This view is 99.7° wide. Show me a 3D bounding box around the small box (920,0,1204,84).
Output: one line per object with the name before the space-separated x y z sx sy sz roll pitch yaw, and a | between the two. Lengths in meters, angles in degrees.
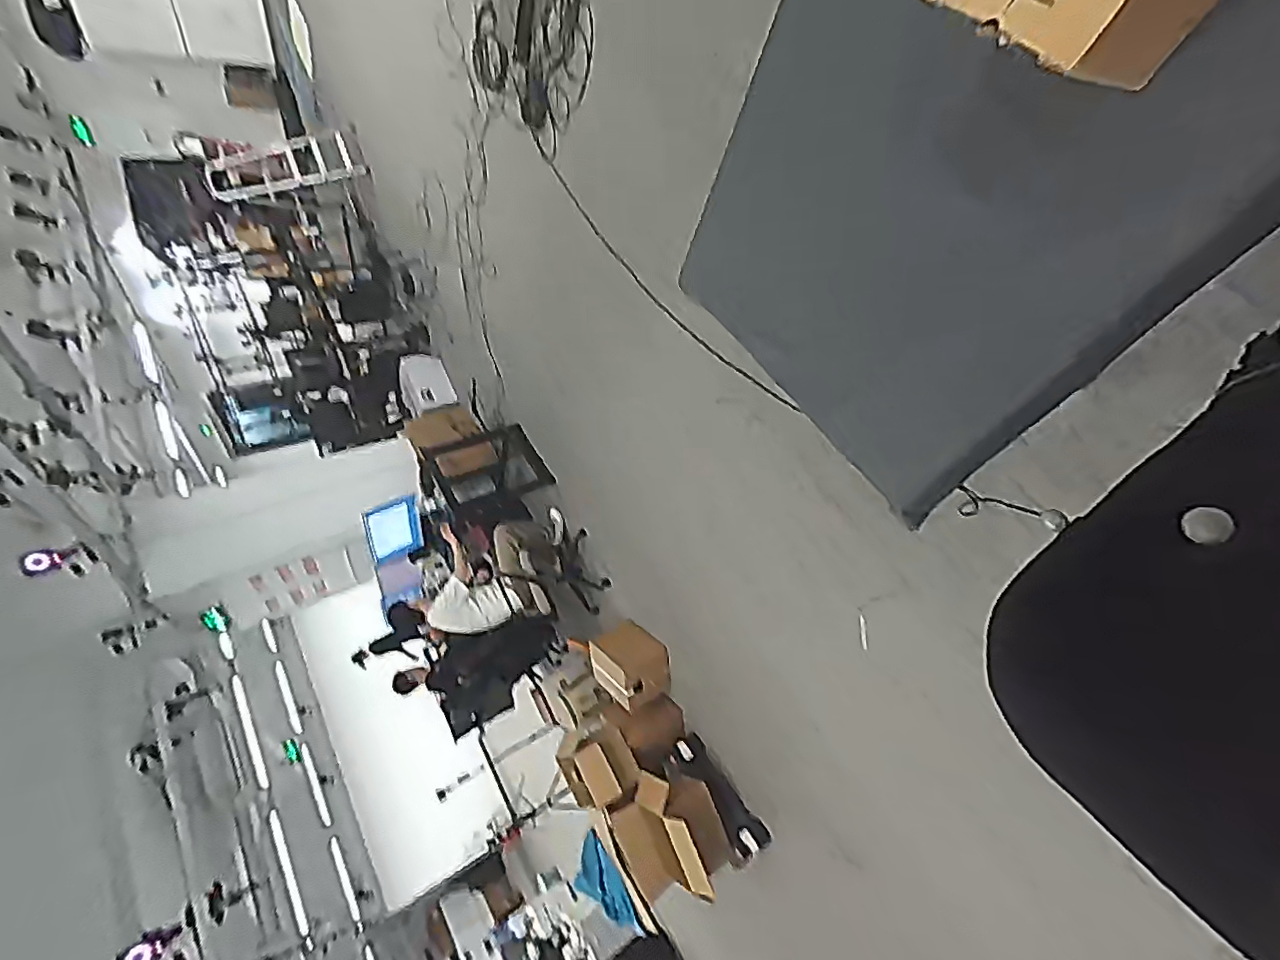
small box | 0.379 -0.453 0.434 0.168 0.176 0.179 55 145 24
